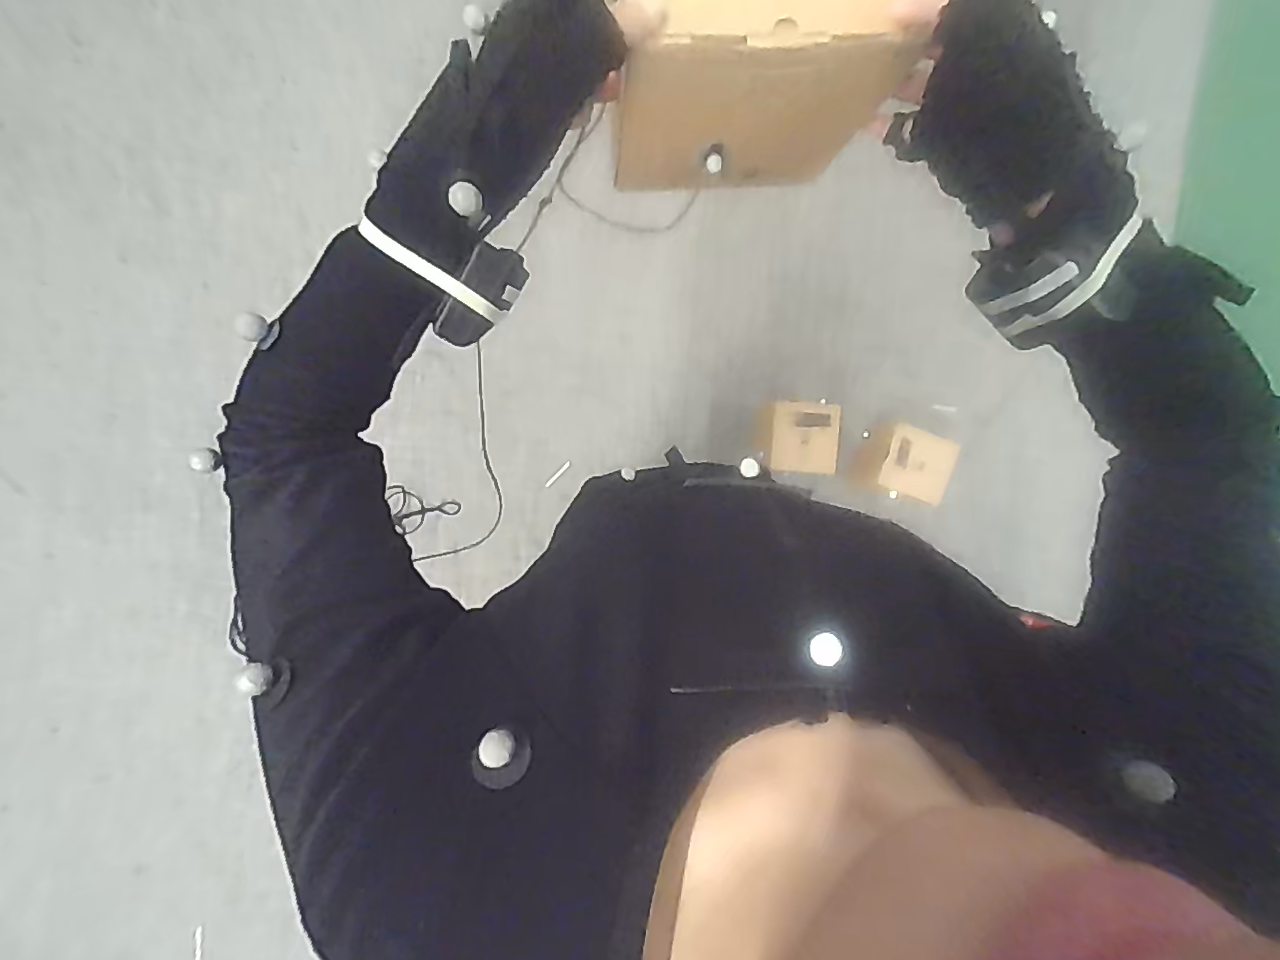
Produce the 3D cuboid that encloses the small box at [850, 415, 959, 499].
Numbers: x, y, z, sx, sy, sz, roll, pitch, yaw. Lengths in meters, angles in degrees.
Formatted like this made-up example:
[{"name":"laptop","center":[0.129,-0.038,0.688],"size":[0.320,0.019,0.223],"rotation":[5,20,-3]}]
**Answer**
[{"name":"small box","center":[0.685,-0.058,1.423],"size":[0.179,0.176,0.168],"rotation":[20,91,-4]}]
